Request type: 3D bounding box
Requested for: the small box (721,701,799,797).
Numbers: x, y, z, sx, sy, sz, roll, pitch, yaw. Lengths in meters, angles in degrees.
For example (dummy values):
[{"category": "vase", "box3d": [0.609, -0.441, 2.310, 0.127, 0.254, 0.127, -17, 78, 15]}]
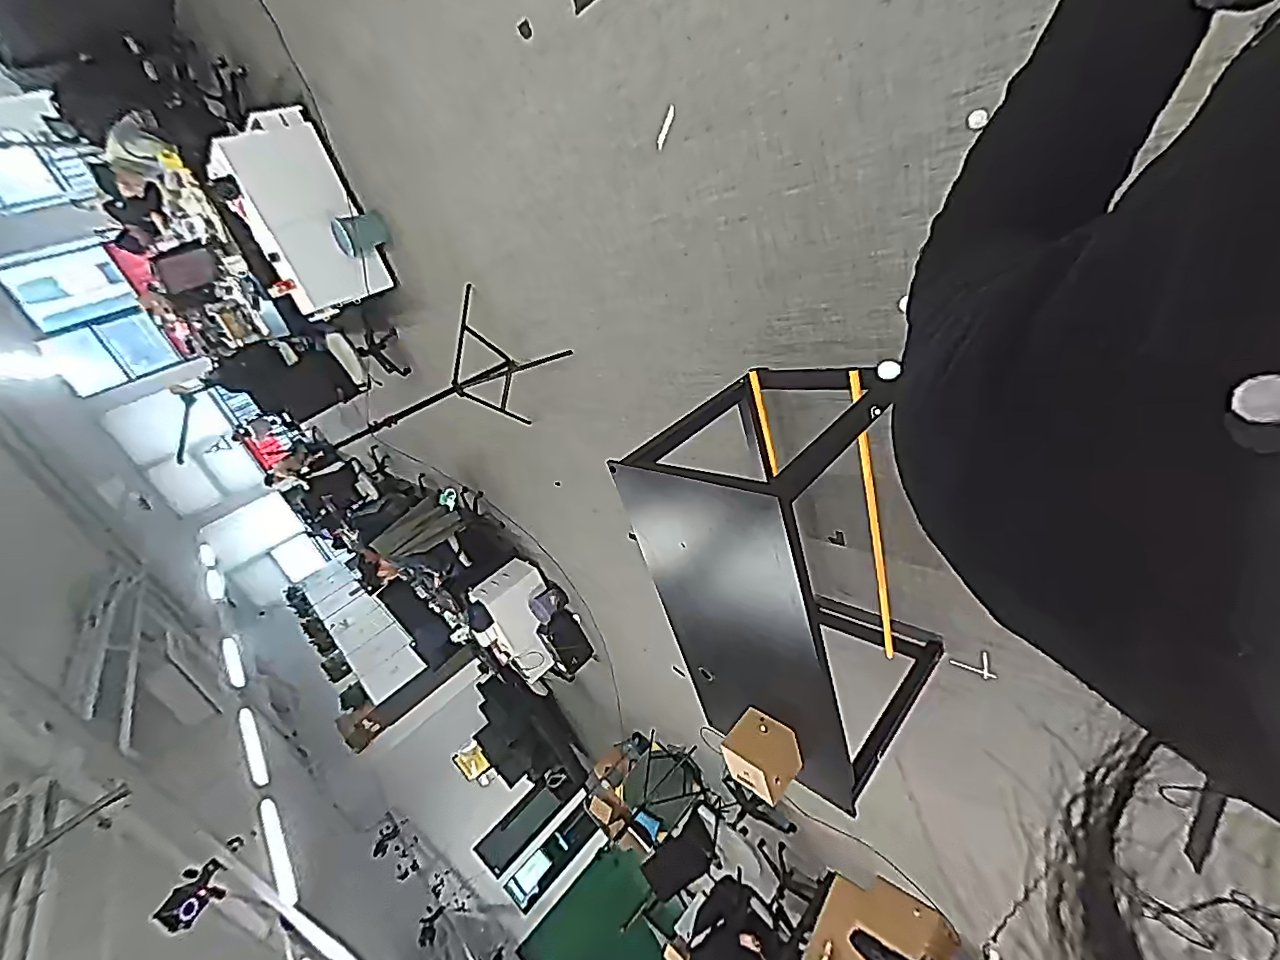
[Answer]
[{"category": "small box", "box3d": [0.387, 0.848, 1.719, 0.168, 0.176, 0.179, 14, 131, 47]}]
